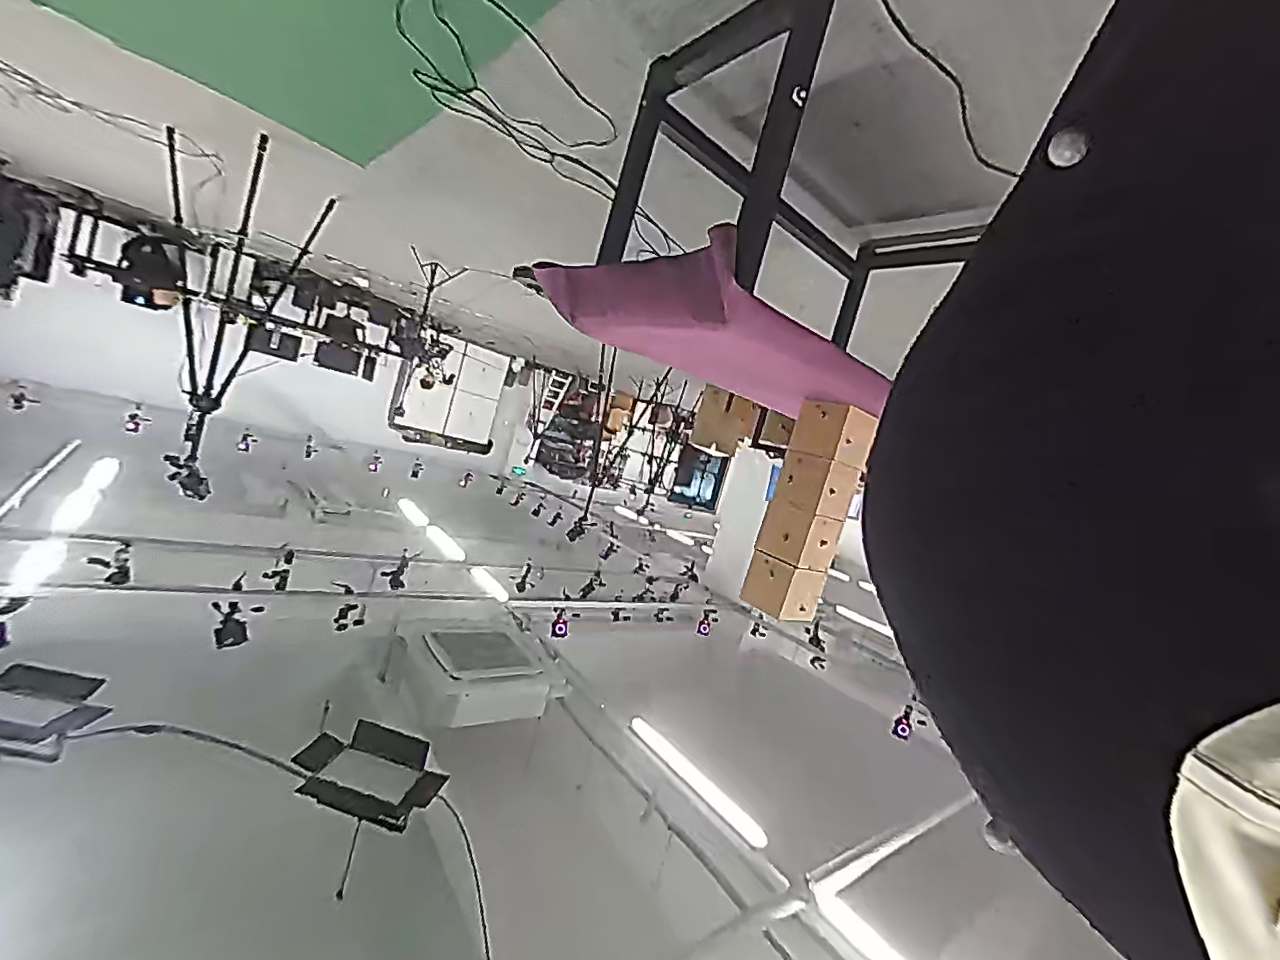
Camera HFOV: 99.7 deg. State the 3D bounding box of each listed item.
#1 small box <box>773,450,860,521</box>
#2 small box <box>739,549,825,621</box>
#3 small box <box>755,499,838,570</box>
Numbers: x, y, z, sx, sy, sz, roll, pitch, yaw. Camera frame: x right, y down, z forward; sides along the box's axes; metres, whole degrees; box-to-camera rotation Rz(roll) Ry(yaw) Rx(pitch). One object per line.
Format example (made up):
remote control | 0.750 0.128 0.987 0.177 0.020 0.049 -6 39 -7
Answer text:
small box | 0.542 0.012 1.657 0.179 0.176 0.168 13 -175 -39
small box | 0.444 0.324 1.681 0.179 0.176 0.168 15 -175 -38
small box | 0.491 0.167 1.674 0.168 0.176 0.179 15 -176 -38
